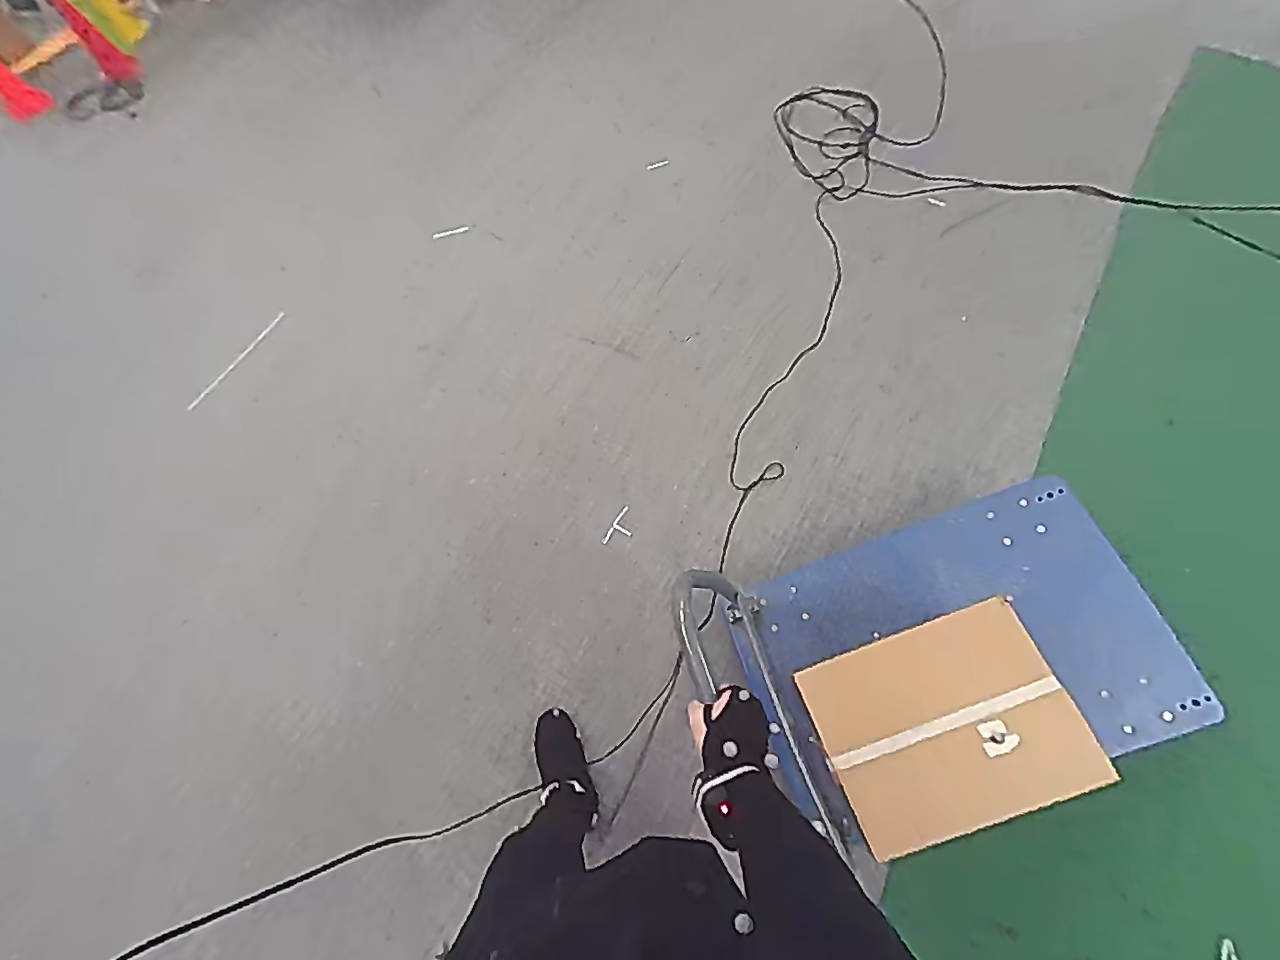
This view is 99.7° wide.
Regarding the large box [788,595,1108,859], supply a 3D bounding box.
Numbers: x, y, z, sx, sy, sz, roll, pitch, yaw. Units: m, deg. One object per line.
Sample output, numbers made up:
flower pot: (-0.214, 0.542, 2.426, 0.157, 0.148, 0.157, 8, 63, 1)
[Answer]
large box: (0.543, 0.467, 1.063, 0.408, 0.320, 0.320, -22, 67, 4)
